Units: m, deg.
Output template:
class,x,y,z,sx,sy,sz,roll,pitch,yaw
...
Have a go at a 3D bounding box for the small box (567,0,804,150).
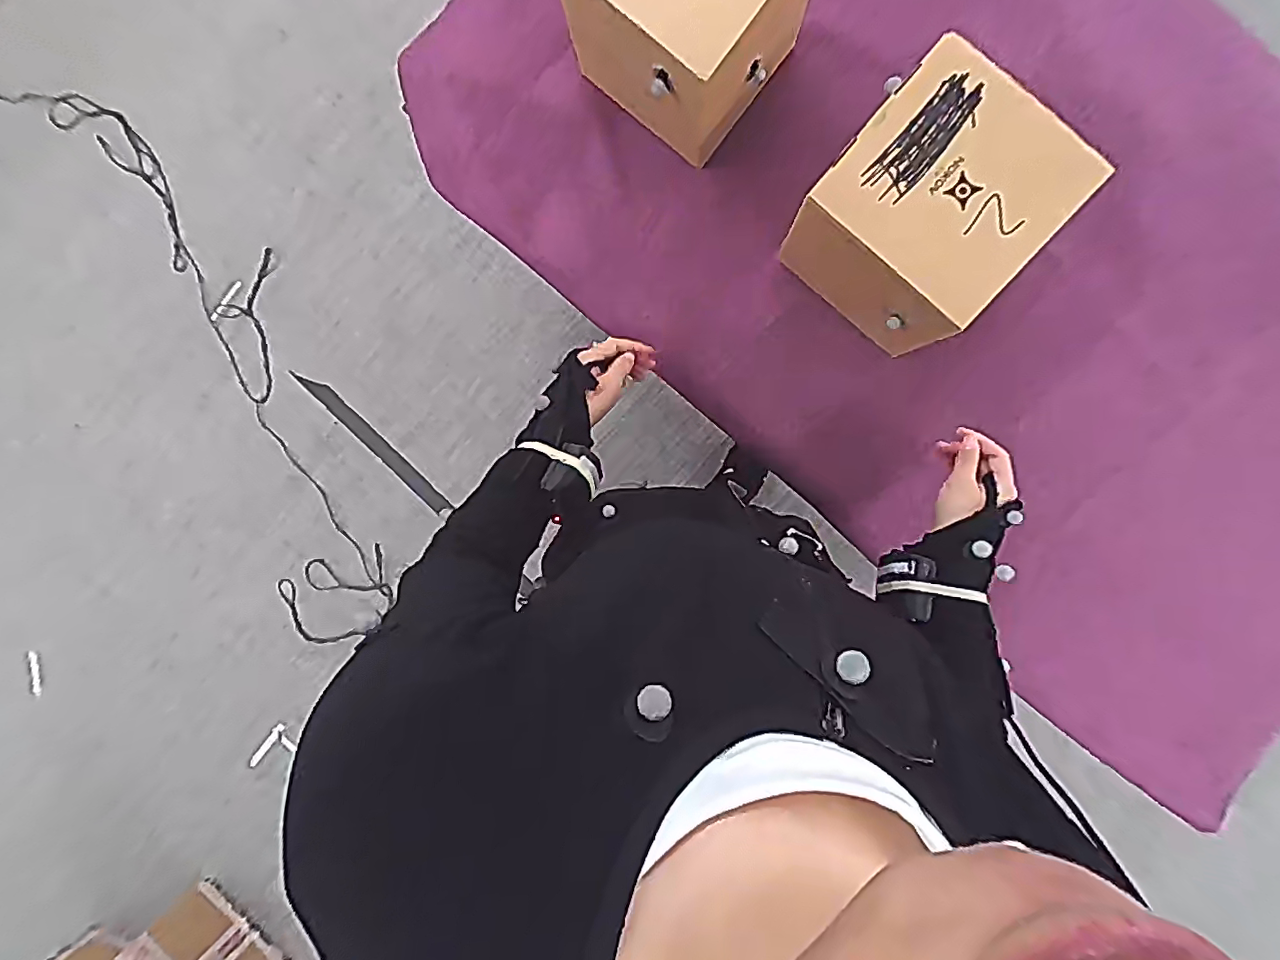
class,x,y,z,sx,sy,sz,roll,pitch,yaw
small box,0.049,-0.464,0.525,0.179,0.176,0.168,40,98,-1
